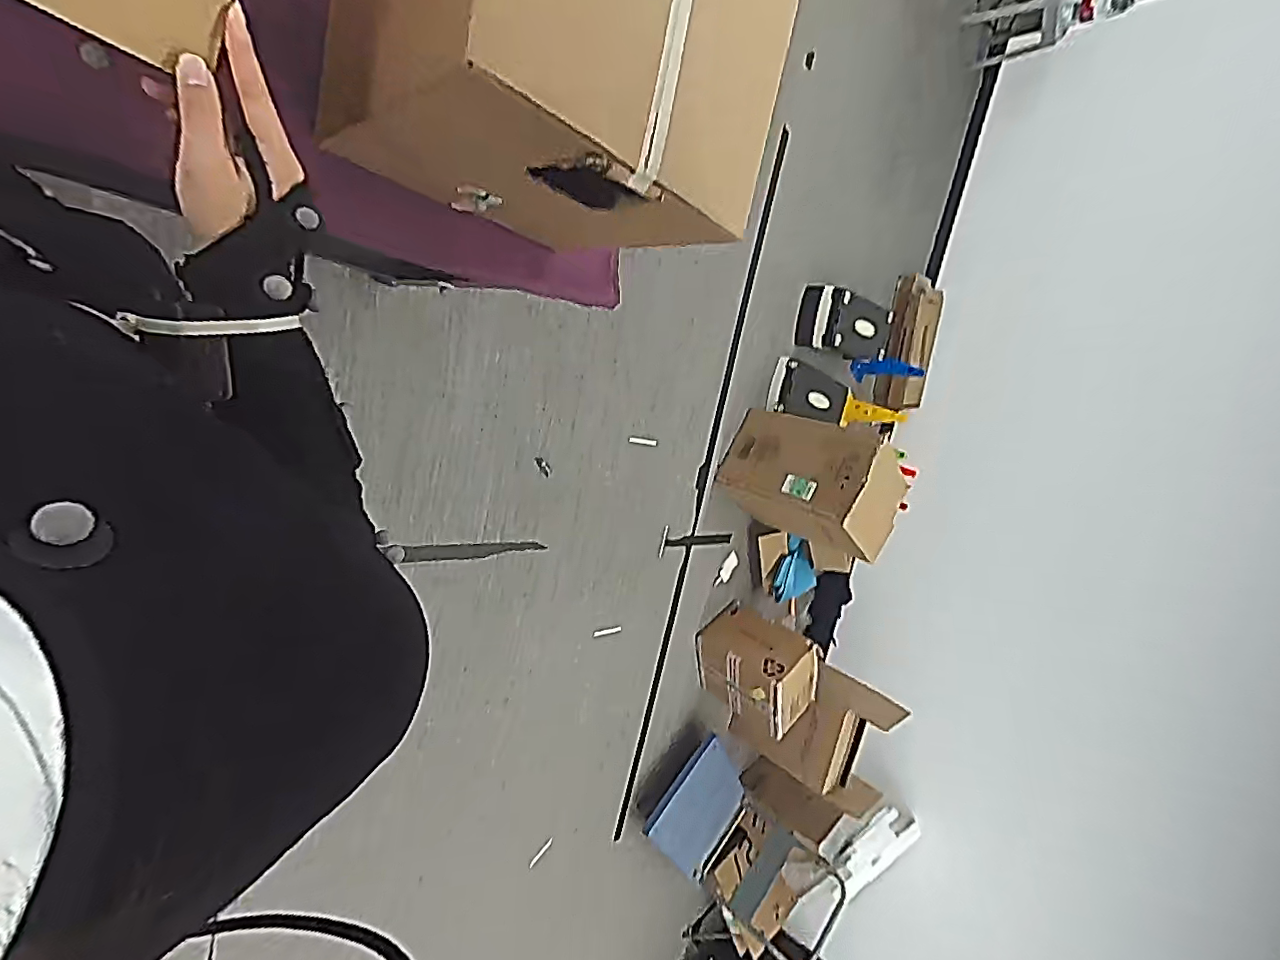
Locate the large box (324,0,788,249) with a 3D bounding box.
[{"bbox_3d":[-0.071,-0.476,0.512,0.320,0.320,0.408,2,102,-48],"label":"large box"}]
